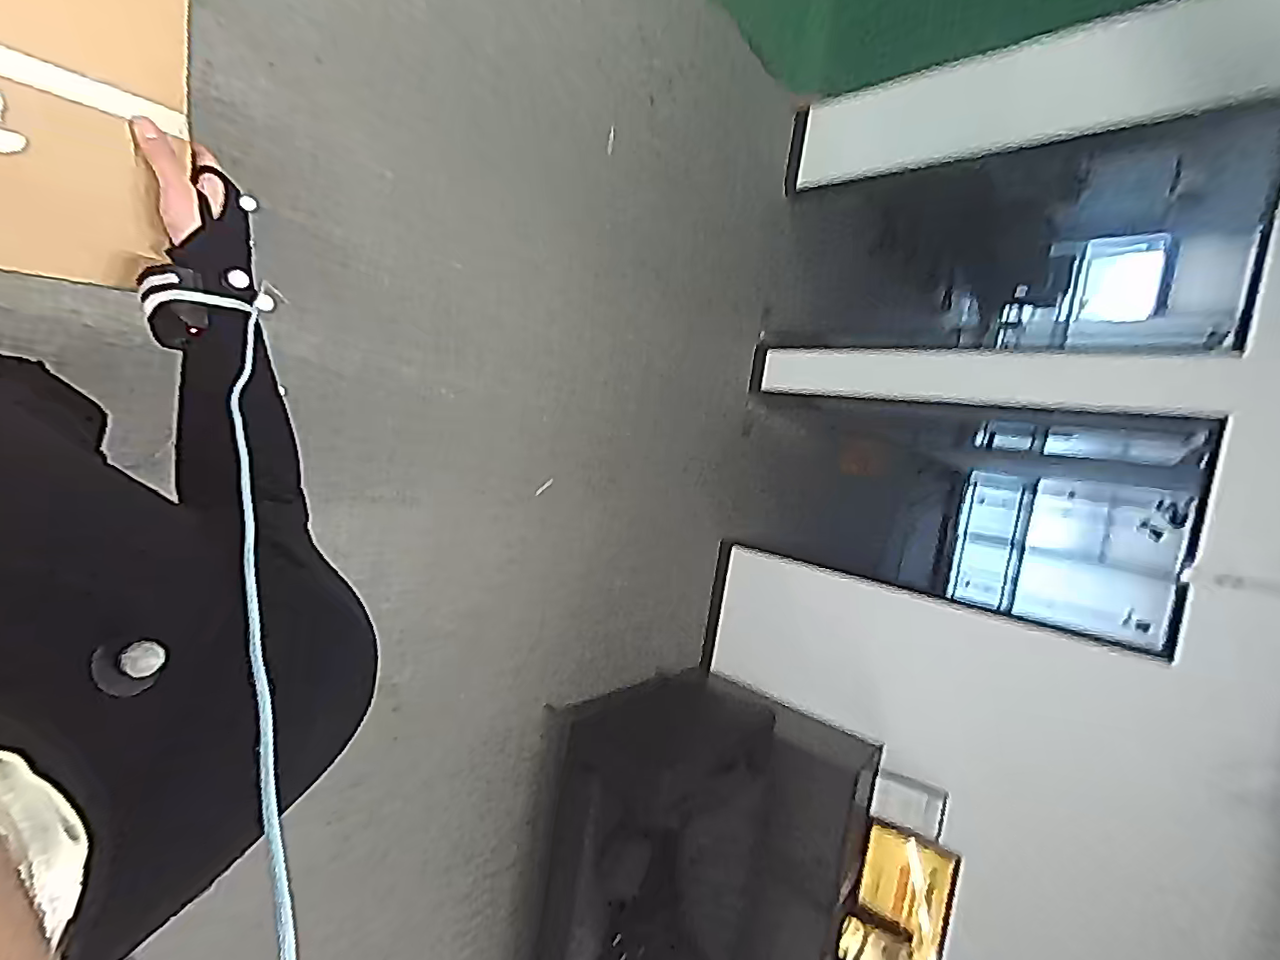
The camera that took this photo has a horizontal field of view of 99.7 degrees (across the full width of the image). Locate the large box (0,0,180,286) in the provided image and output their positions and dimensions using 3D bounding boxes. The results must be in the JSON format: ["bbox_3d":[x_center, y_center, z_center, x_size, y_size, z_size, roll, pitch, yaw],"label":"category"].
[{"bbox_3d":[-0.678,-0.361,0.436,0.408,0.320,0.320,-8,113,-53],"label":"large box"}]
